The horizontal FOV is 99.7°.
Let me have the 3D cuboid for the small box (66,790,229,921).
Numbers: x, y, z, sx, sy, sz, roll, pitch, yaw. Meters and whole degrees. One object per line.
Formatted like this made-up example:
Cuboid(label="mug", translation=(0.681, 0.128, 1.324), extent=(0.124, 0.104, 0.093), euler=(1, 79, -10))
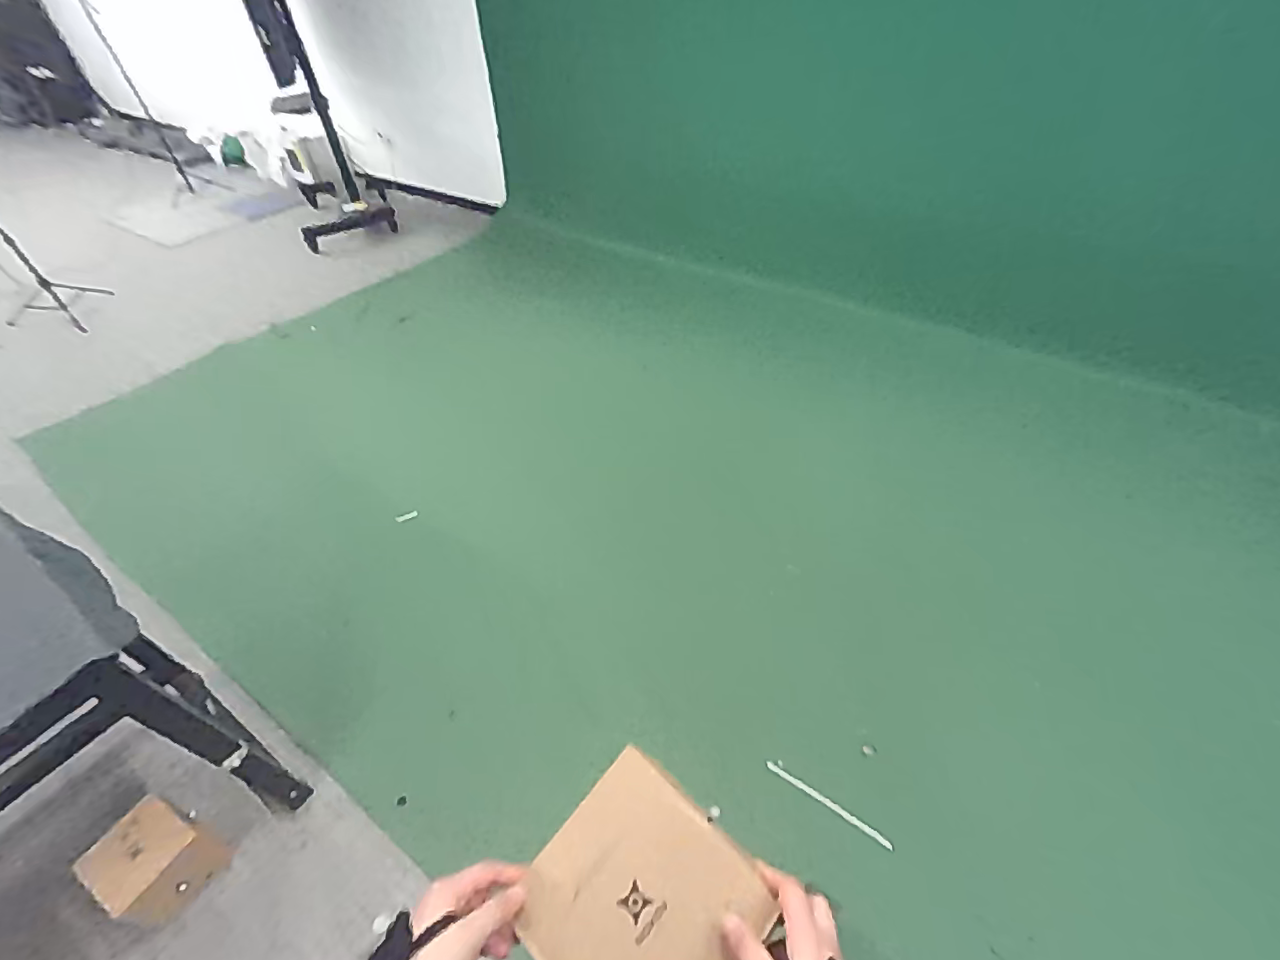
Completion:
Cuboid(label="small box", translation=(-1.057, 0.821, 1.178), extent=(0.179, 0.176, 0.168), euler=(21, 49, 20))
